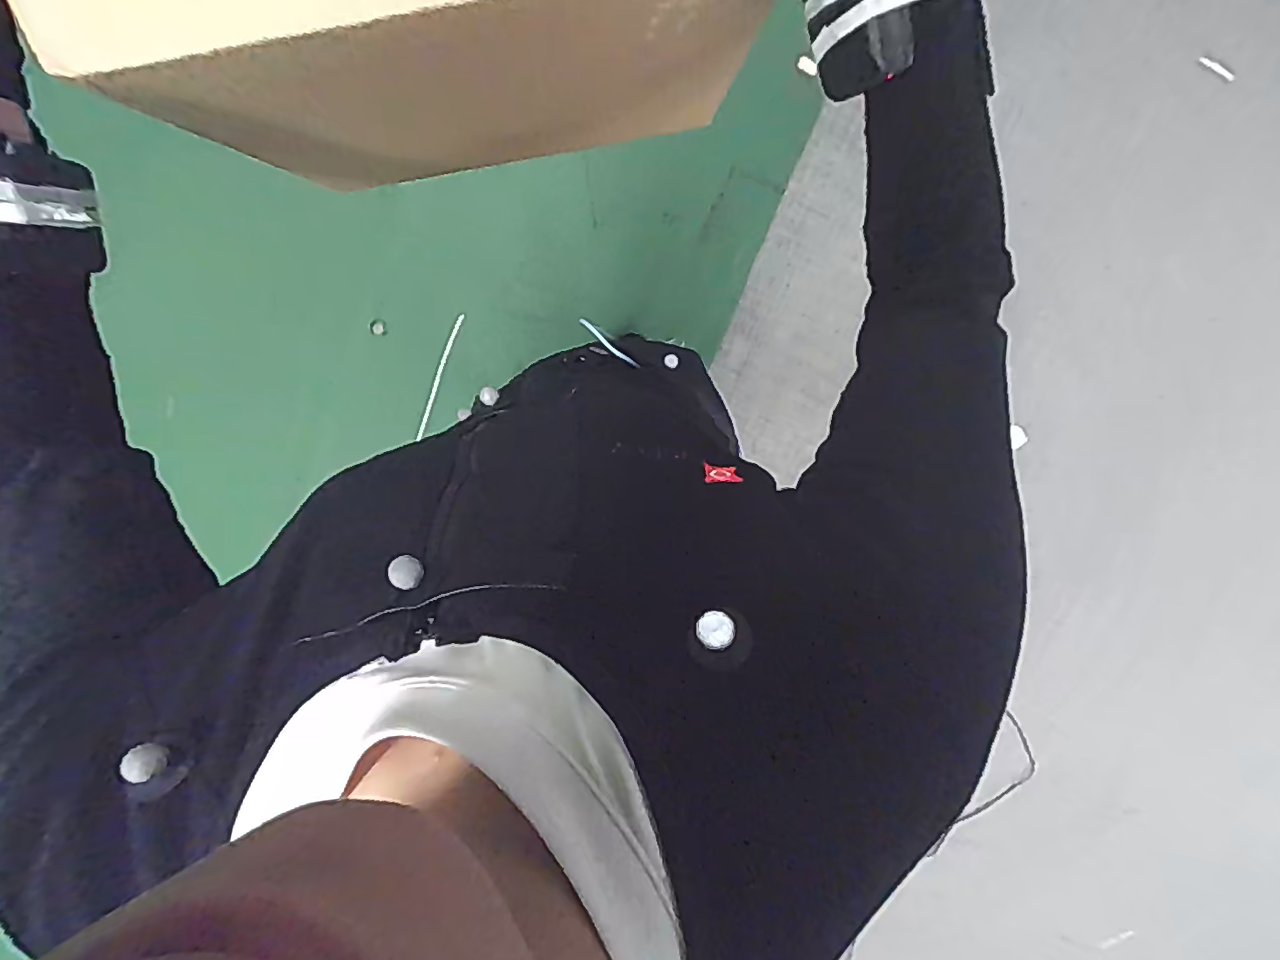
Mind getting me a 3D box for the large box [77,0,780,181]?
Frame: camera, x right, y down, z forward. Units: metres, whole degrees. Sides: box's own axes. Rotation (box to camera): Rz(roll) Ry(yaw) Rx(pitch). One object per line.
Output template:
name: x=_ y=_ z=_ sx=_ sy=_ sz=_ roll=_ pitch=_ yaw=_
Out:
large box: x=-0.128 y=-0.445 z=0.380 sx=0.408 sy=0.320 sz=0.320 roll=-11 pitch=109 yaw=-1
